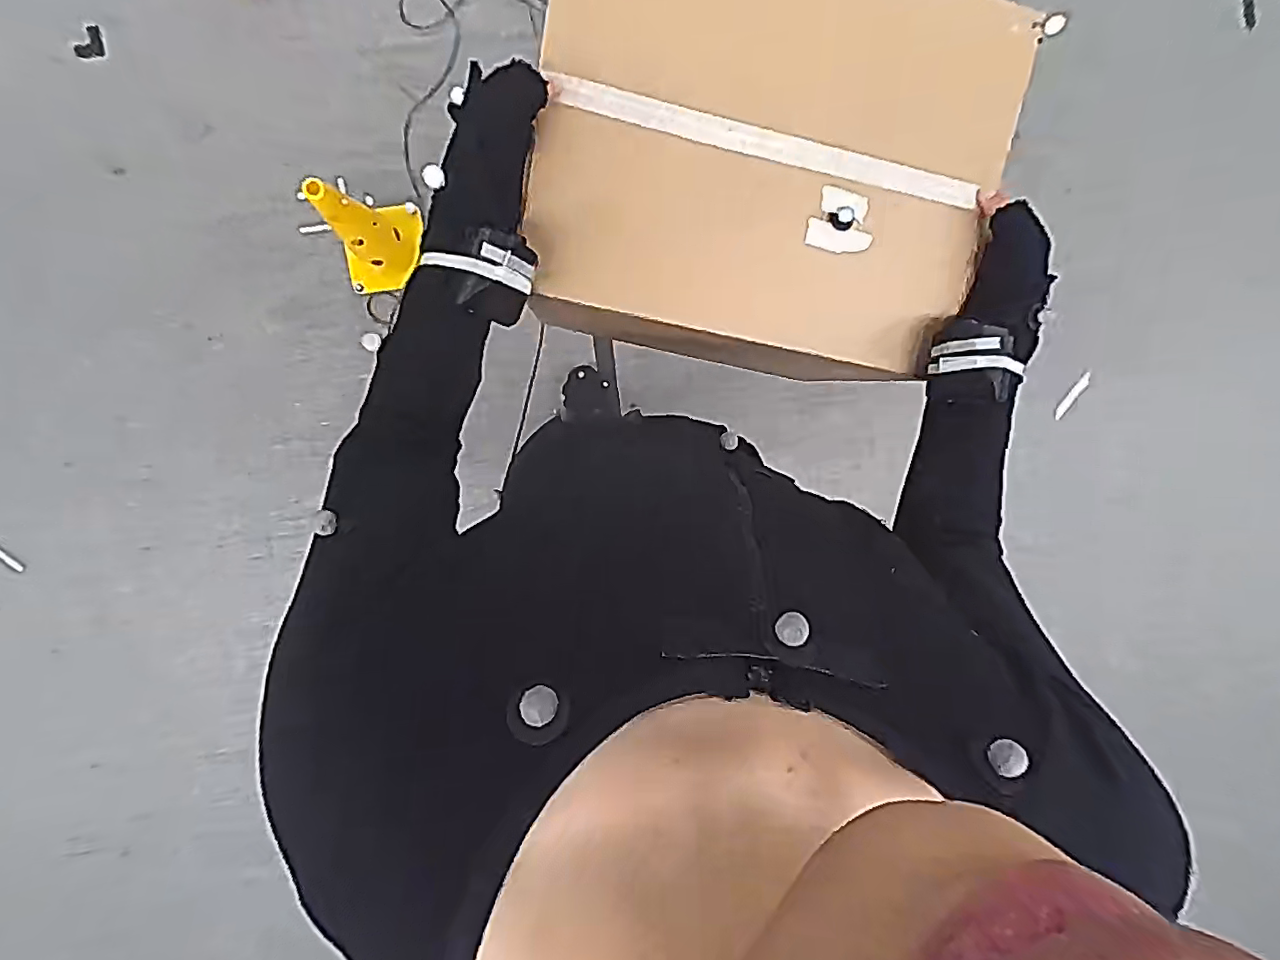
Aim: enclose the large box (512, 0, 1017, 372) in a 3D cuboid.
[{"bbox_3d":[0.090,-0.311,0.606,0.408,0.320,0.320,9,99,-8],"label":"large box"}]
